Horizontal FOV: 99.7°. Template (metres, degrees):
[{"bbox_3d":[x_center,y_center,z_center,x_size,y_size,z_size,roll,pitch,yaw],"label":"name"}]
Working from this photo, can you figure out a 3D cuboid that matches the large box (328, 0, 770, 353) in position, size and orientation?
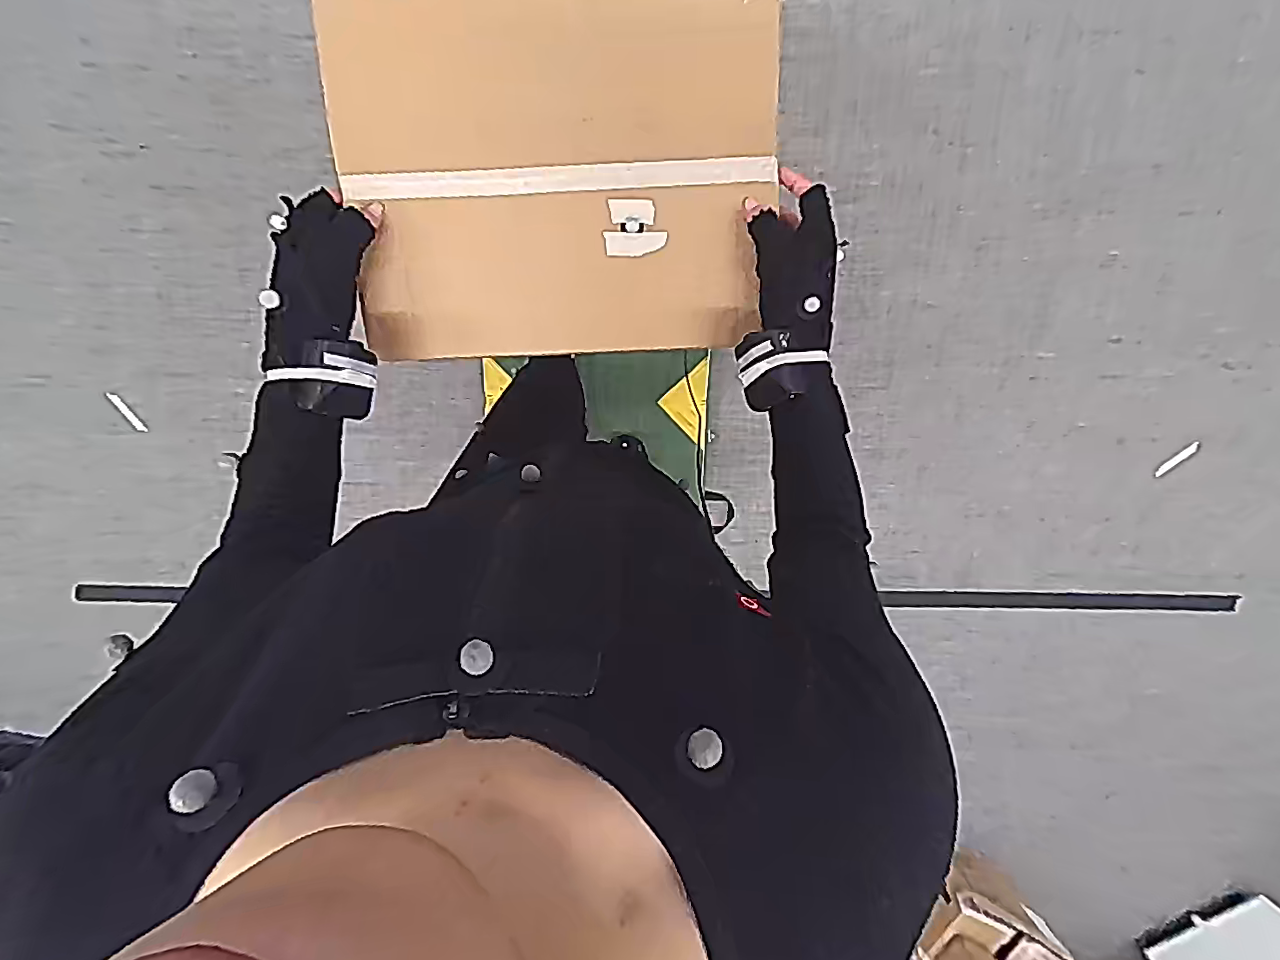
[{"bbox_3d":[-0.079,-0.328,0.662,0.408,0.320,0.320,-3,105,-1],"label":"large box"}]
